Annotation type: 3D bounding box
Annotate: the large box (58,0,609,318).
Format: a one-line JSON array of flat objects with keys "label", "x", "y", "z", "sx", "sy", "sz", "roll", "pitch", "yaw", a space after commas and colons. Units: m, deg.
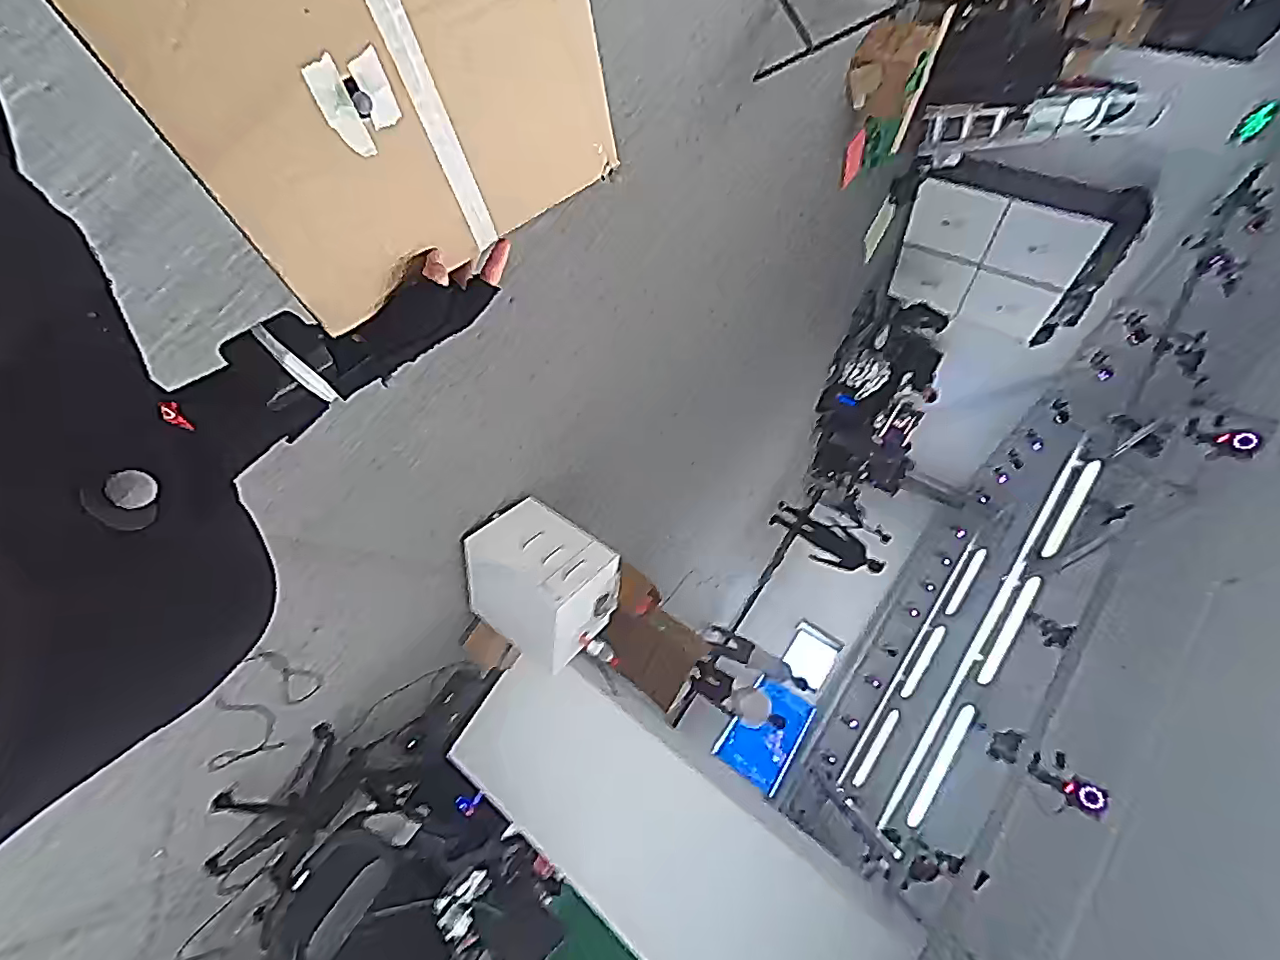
[{"label": "large box", "x": -0.271, "y": -0.418, "z": 0.401, "sx": 0.320, "sy": 0.320, "sz": 0.408, "roll": -38, "pitch": 150, "yaw": -14}]
